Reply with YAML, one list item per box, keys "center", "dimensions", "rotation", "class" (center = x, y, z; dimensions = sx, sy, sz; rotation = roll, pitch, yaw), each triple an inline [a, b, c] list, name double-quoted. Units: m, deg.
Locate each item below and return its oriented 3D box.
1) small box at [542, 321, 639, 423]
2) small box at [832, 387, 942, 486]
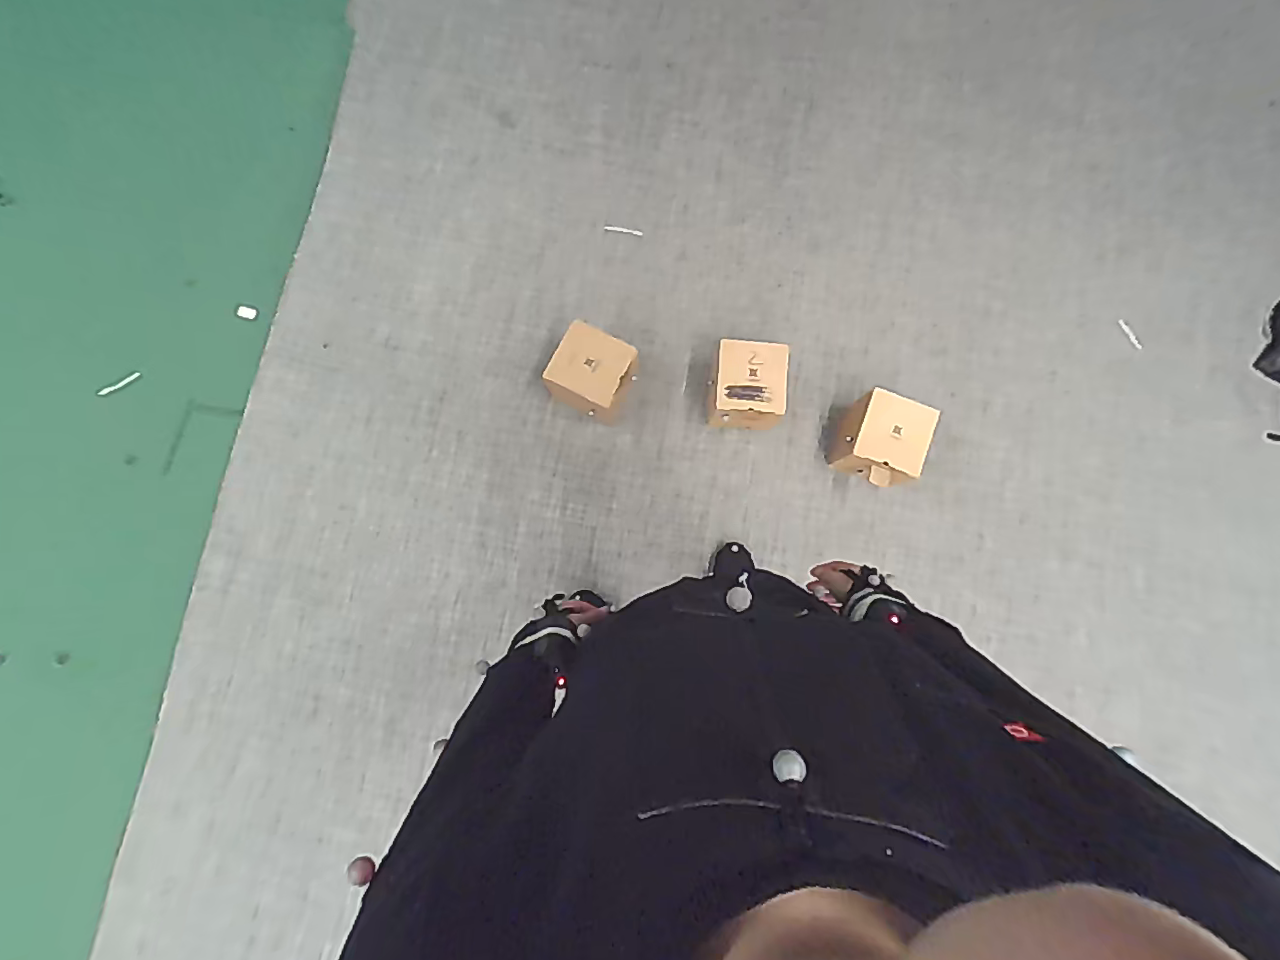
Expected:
- center: [-0.113, -0.256, 1.336]
  dimensions: [0.179, 0.176, 0.168]
  rotation: [25, 82, 7]
  class: "small box"
- center: [0.596, -0.100, 1.329]
  dimensions: [0.168, 0.176, 0.179]
  rotation: [21, 83, 2]
  class: "small box"
